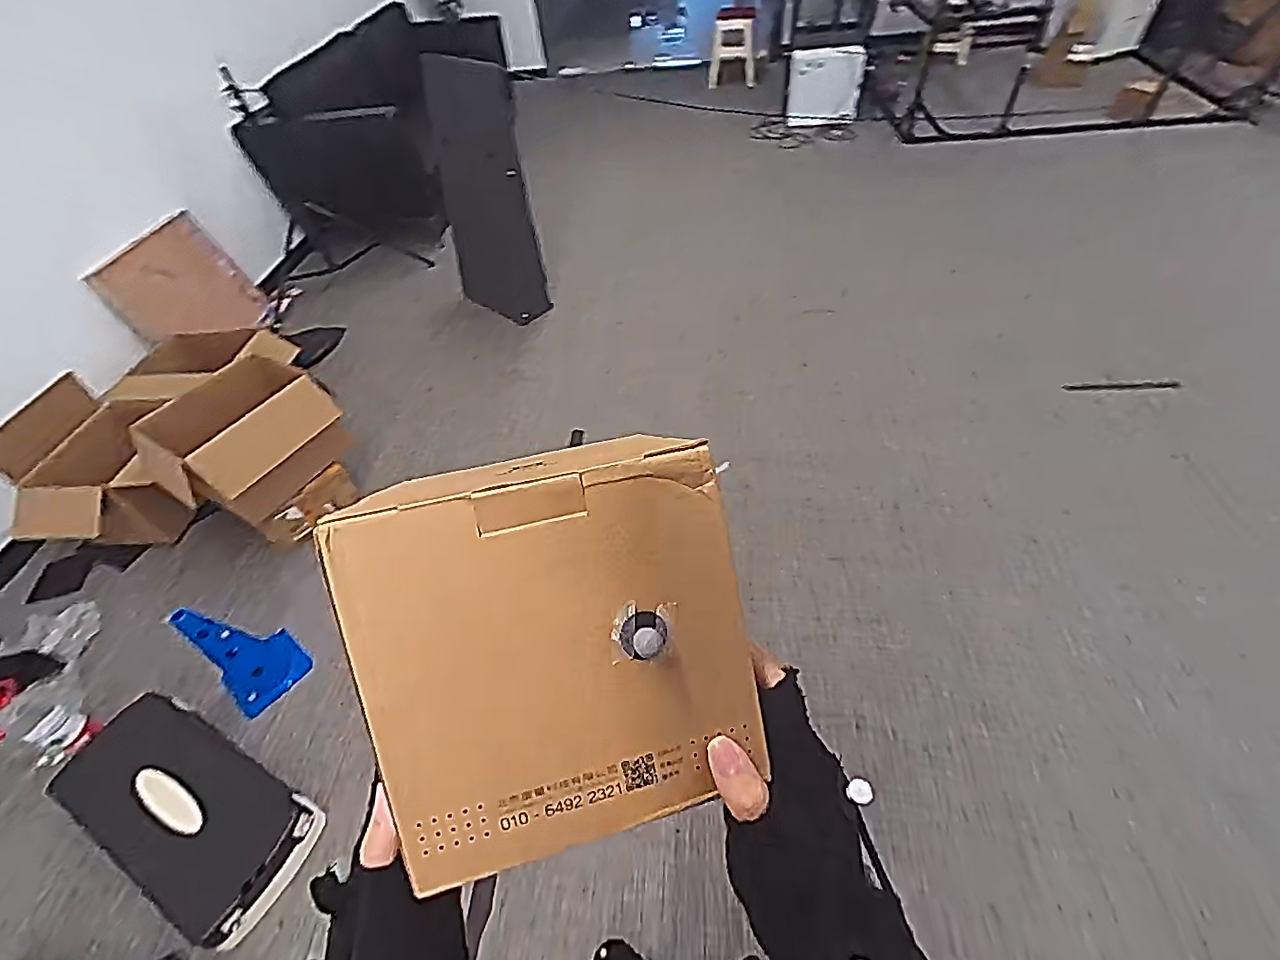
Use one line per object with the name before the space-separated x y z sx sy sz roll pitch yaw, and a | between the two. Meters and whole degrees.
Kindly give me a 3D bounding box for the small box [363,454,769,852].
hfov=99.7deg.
small box | -0.037 0.085 0.329 0.168 0.176 0.179 -12 5 -8
